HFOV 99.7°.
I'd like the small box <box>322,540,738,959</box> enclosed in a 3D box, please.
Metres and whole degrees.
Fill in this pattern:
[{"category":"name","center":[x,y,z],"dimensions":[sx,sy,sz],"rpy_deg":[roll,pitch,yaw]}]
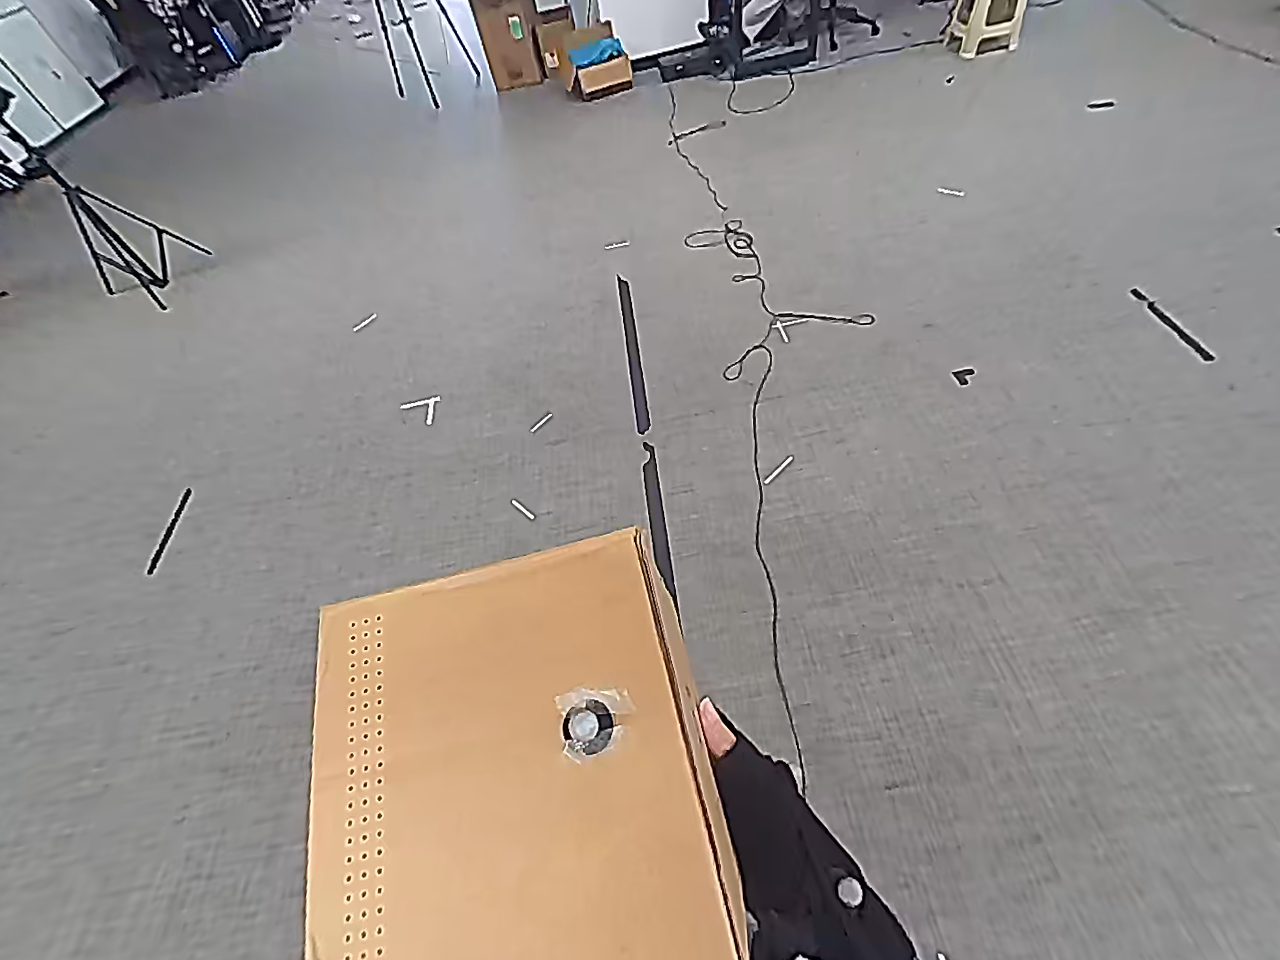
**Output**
[{"category":"small box","center":[-0.051,0.159,0.310],"dimensions":[0.176,0.168,0.179],"rpy_deg":[-15,63,3]}]
